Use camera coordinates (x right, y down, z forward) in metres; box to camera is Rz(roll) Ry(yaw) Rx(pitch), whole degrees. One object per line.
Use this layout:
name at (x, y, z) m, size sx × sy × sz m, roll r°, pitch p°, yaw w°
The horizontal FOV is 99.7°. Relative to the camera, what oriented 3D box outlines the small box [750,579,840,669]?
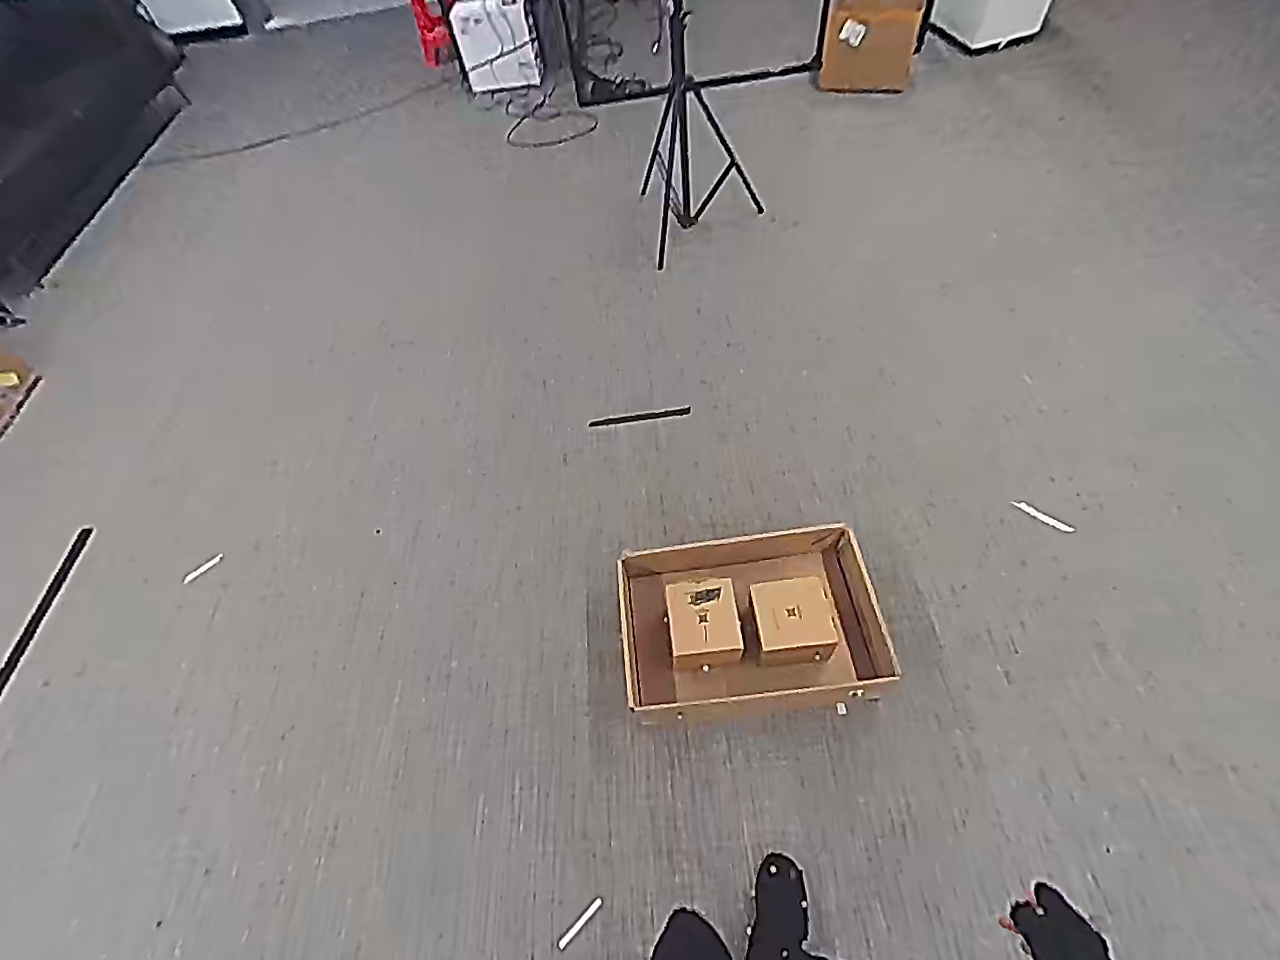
small box at (0.375, 0.361, 1.341) m, size 0.179 × 0.176 × 0.168 m, roll -8°, pitch 56°, yaw 4°
